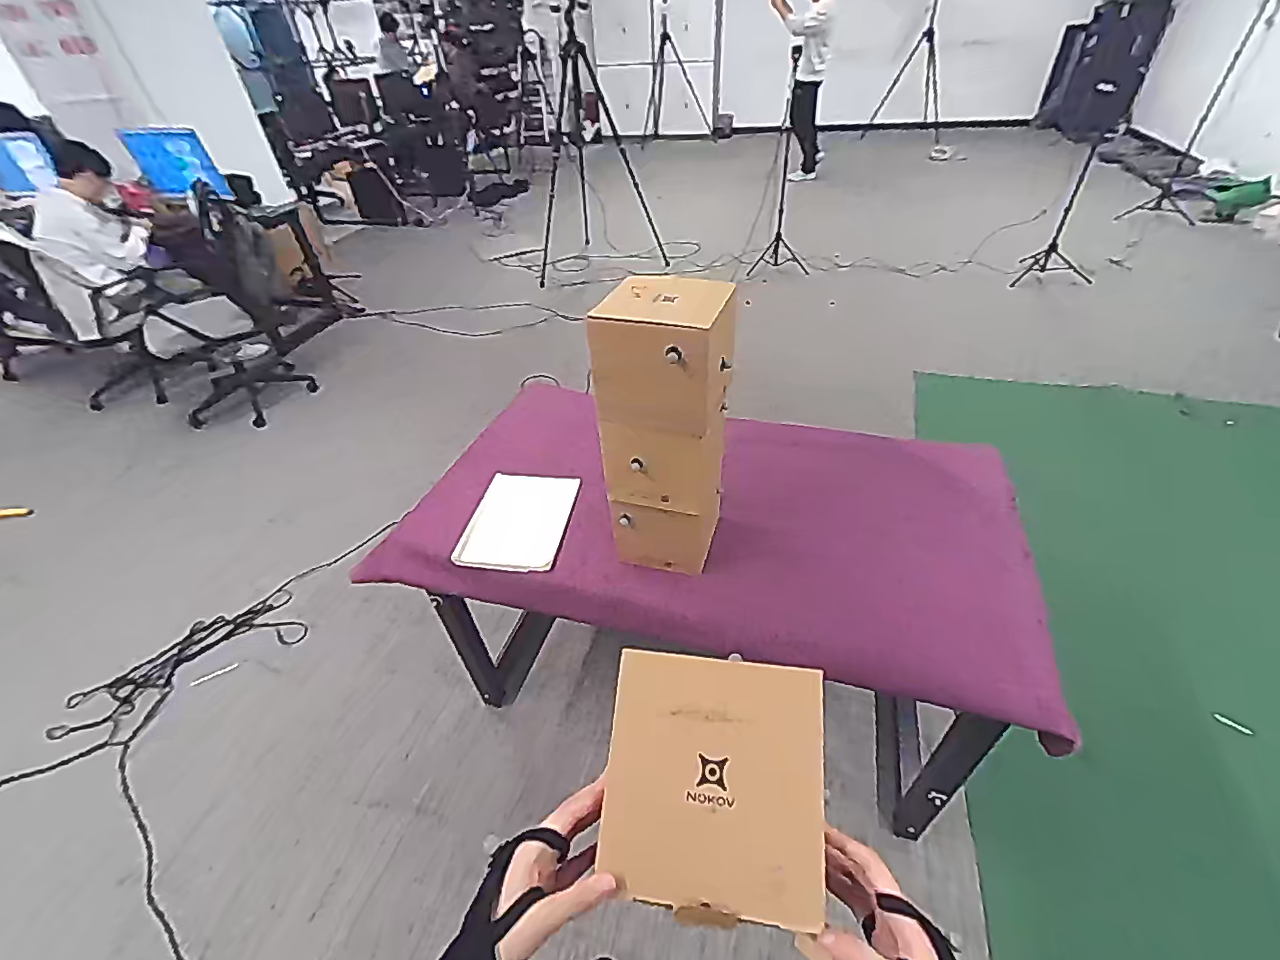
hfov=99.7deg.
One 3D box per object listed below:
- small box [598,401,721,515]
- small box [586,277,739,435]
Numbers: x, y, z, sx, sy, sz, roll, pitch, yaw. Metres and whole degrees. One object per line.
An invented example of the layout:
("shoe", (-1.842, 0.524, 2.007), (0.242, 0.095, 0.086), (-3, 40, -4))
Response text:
("small box", (0.043, -0.064, 0.921), (0.168, 0.176, 0.179), (10, 41, 16))
("small box", (0.040, -0.186, 0.809), (0.179, 0.176, 0.168), (11, 41, 18))
